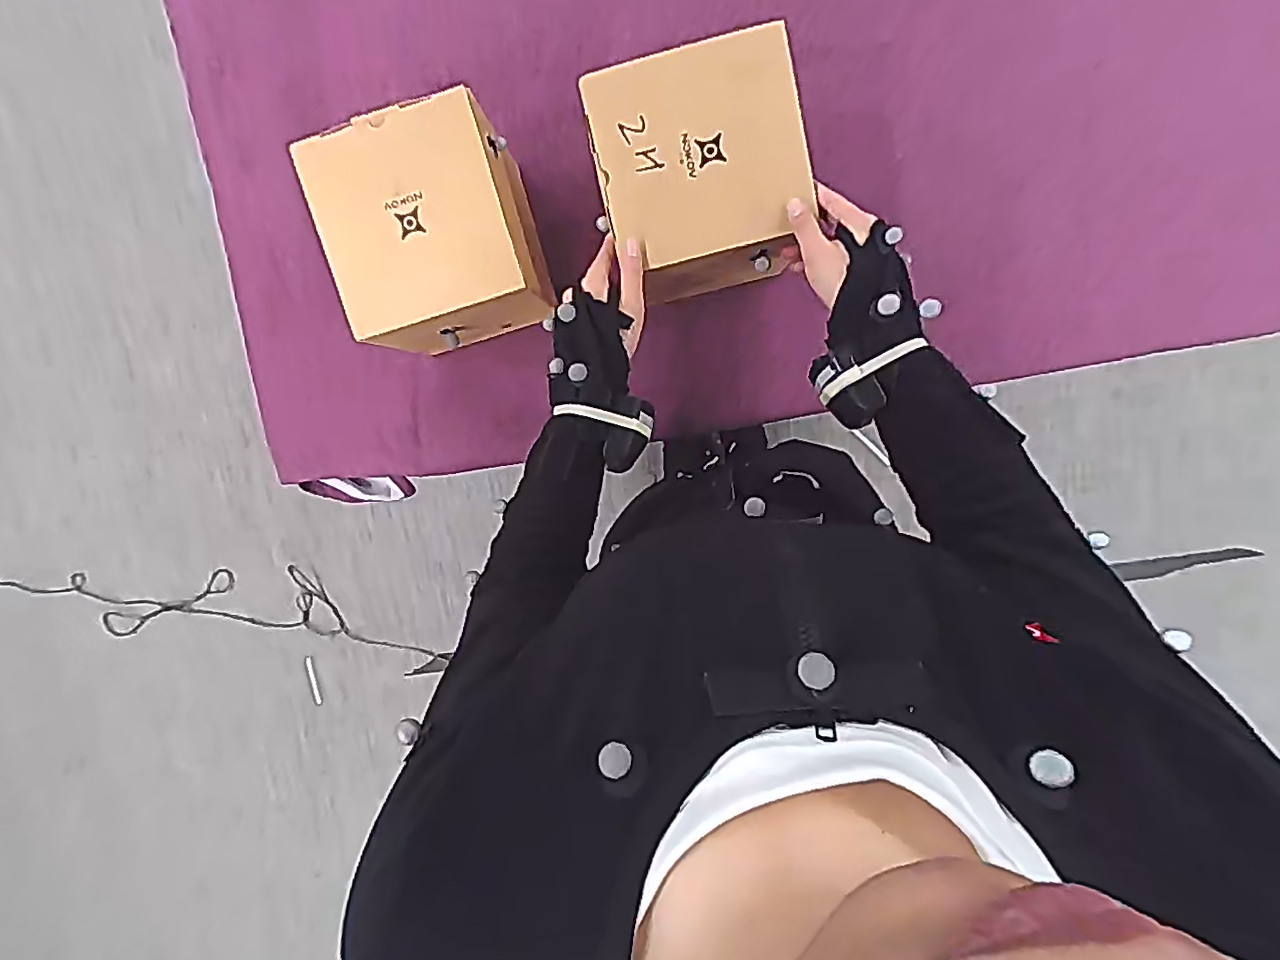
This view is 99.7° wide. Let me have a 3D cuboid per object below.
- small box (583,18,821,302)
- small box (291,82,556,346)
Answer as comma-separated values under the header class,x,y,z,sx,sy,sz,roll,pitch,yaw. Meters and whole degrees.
class,x,y,z,sx,sy,sz,roll,pitch,yaw
small box,0.055,-0.287,0.529,0.179,0.176,0.168,-13,96,4
small box,-0.197,-0.243,0.549,0.168,0.176,0.179,-16,96,5
